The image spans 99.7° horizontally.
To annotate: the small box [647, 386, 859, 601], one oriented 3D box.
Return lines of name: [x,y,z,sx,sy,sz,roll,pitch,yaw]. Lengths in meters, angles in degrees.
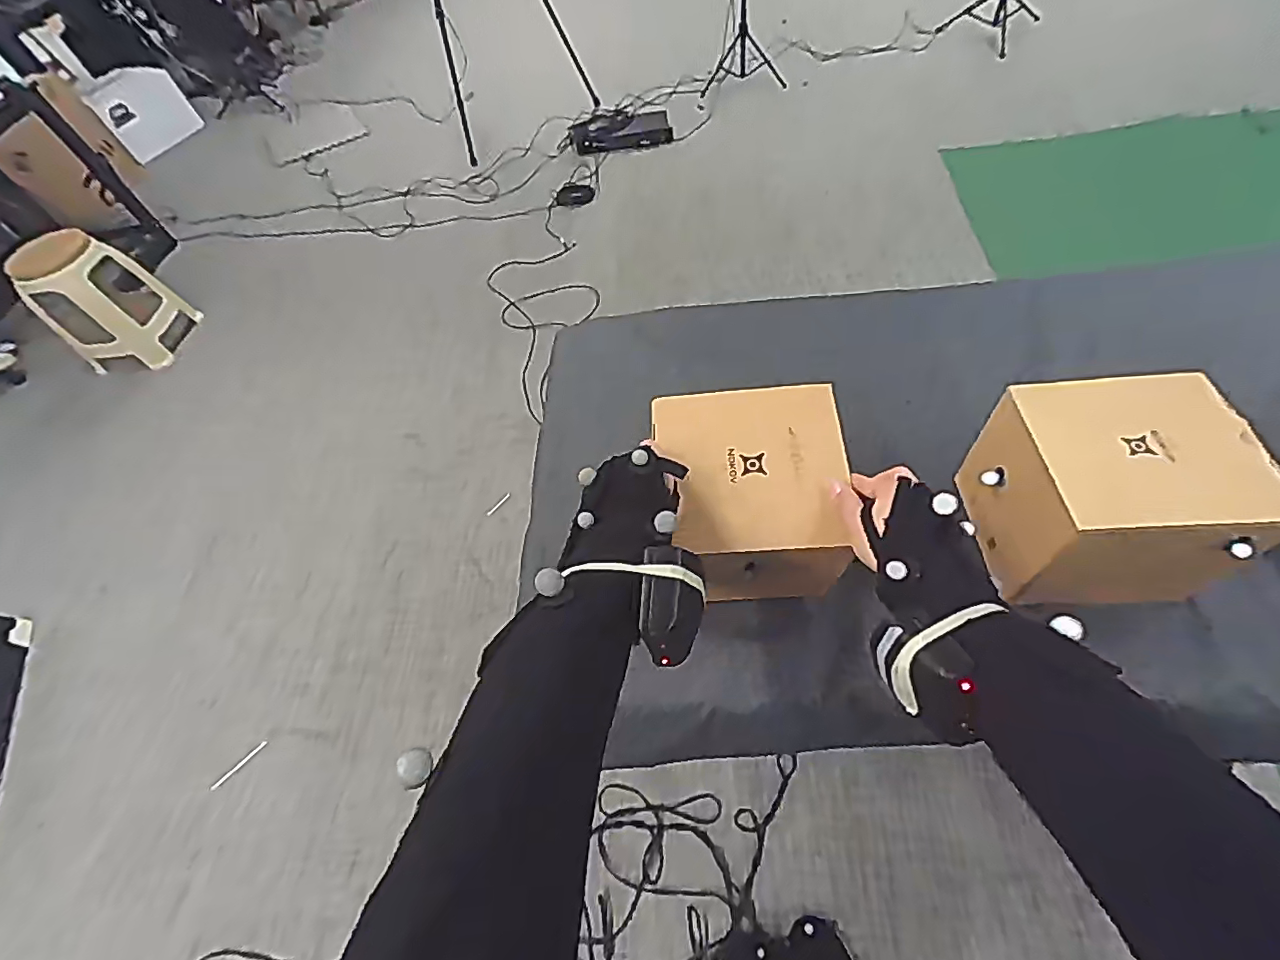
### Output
small box: [0.103,0.024,0.556,0.179,0.176,0.168,-3,64,5]

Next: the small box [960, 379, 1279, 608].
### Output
small box: [0.450,0.021,0.542,0.179,0.176,0.168,-3,55,6]
